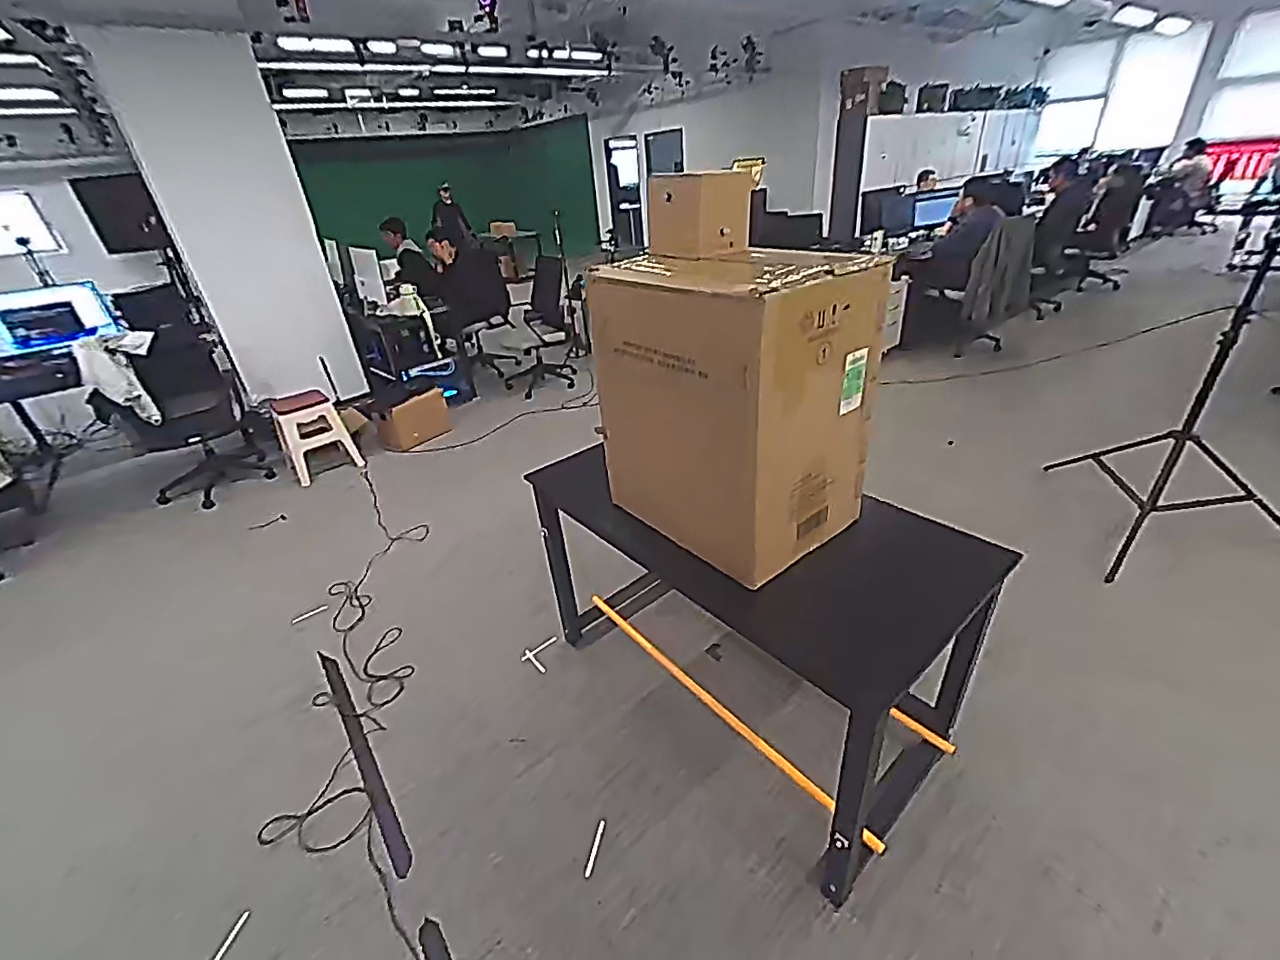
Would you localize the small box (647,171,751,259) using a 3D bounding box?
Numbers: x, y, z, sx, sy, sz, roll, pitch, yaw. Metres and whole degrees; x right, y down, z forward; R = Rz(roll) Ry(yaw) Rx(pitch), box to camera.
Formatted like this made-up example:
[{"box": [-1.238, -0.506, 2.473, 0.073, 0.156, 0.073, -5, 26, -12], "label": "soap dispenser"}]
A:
[{"box": [0.133, -0.610, 1.243, 0.168, 0.176, 0.179, -24, 36, -32], "label": "small box"}]
